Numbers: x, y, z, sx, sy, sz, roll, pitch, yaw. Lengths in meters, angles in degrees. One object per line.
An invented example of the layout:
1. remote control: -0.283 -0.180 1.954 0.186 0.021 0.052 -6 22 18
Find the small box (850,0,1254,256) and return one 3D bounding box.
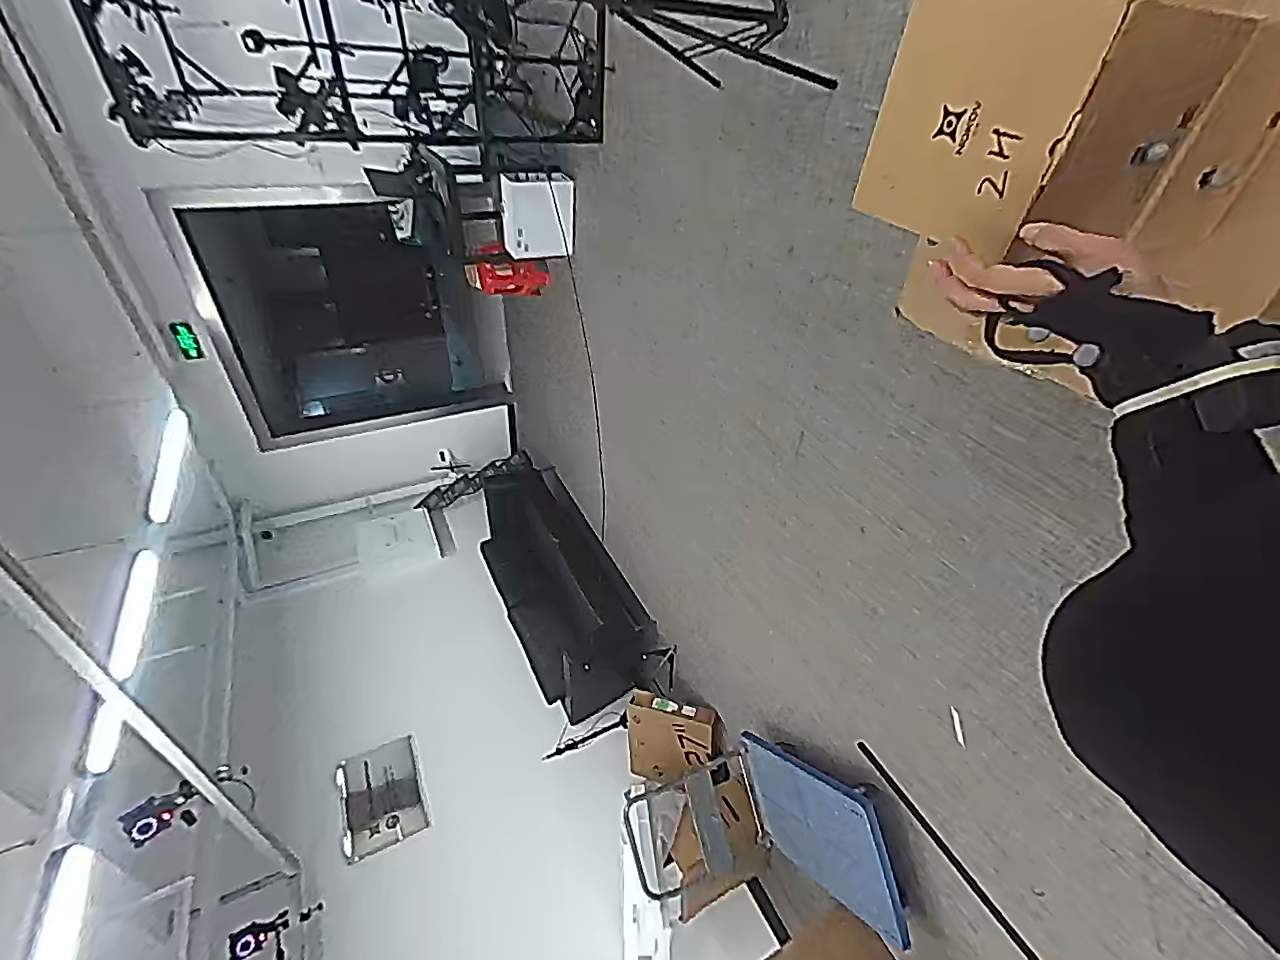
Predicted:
1. small box: 0.323 -0.305 0.455 0.179 0.176 0.168 54 150 40

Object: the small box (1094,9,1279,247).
1. small box: 0.472 -0.339 0.517 0.179 0.176 0.168 52 149 43
